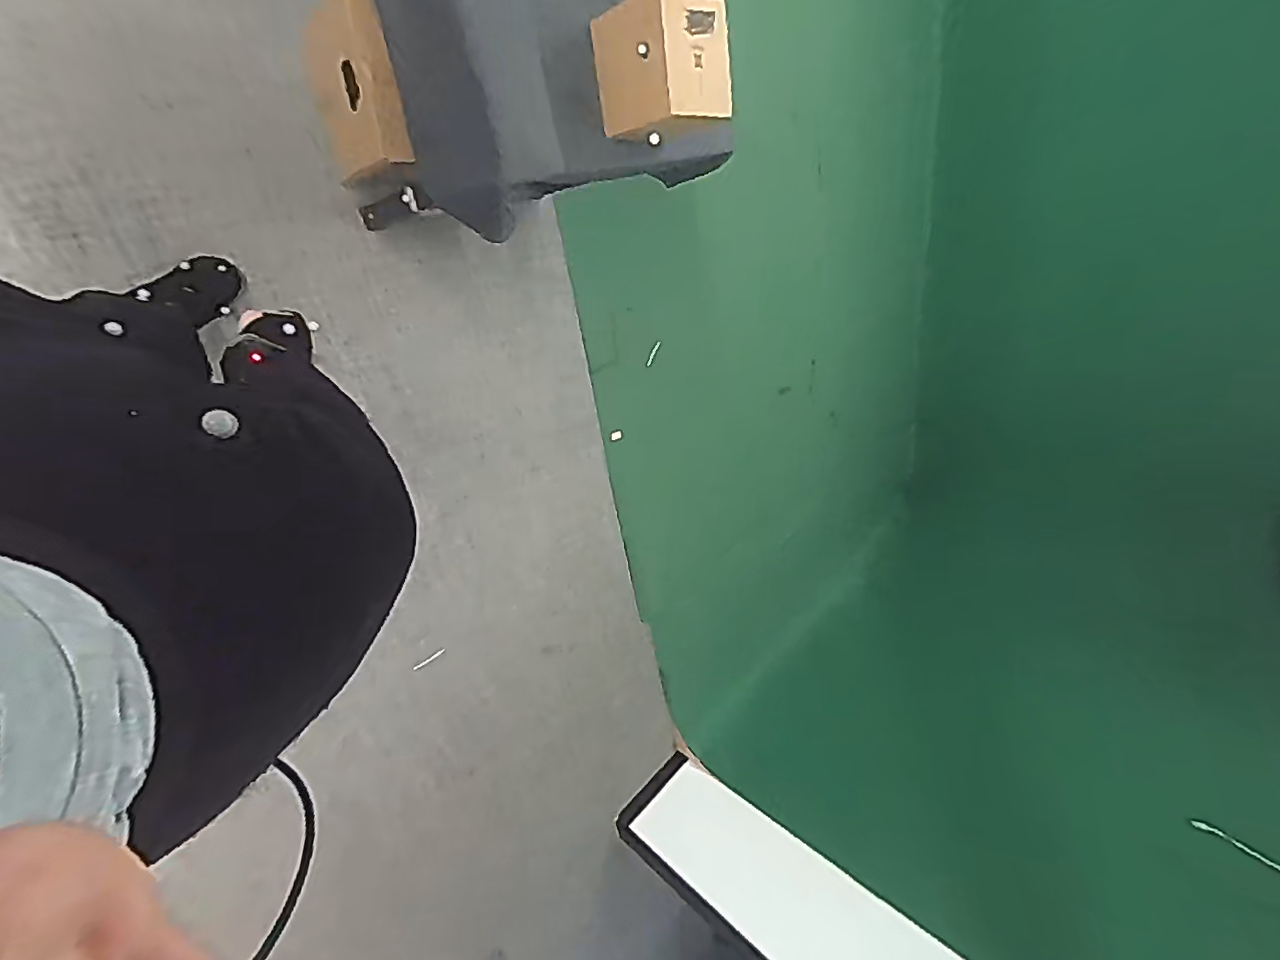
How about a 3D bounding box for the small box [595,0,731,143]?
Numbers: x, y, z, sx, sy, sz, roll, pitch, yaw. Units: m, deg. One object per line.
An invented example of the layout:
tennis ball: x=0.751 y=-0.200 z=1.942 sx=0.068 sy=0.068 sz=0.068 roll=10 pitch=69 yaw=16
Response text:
small box: x=0.040 y=-0.713 z=0.947 sx=0.168 sy=0.176 sz=0.179 roll=-28 pitch=120 yaw=-37
